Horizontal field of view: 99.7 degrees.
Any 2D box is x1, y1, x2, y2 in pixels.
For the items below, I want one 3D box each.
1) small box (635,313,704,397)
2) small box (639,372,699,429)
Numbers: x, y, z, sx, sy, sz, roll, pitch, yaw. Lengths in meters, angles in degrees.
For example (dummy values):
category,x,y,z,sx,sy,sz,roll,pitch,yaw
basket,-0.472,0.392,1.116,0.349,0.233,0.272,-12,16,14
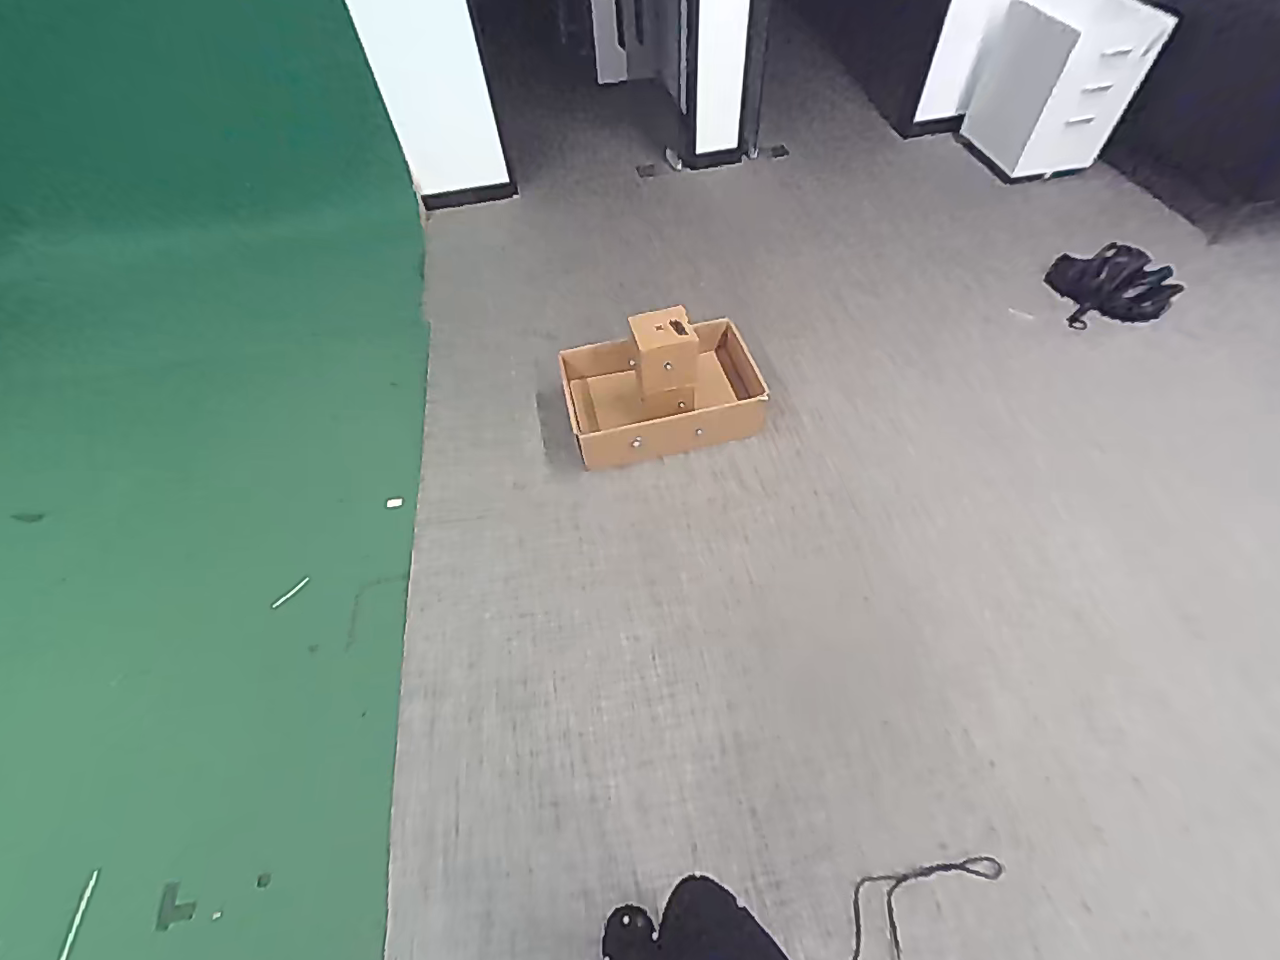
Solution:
category,x,y,z,sx,sy,sz,roll,pitch,yaw
small box,0.087,-0.381,1.659,0.179,0.176,0.168,-13,54,-4
small box,0.096,-0.284,1.791,0.168,0.176,0.179,-10,52,-4
